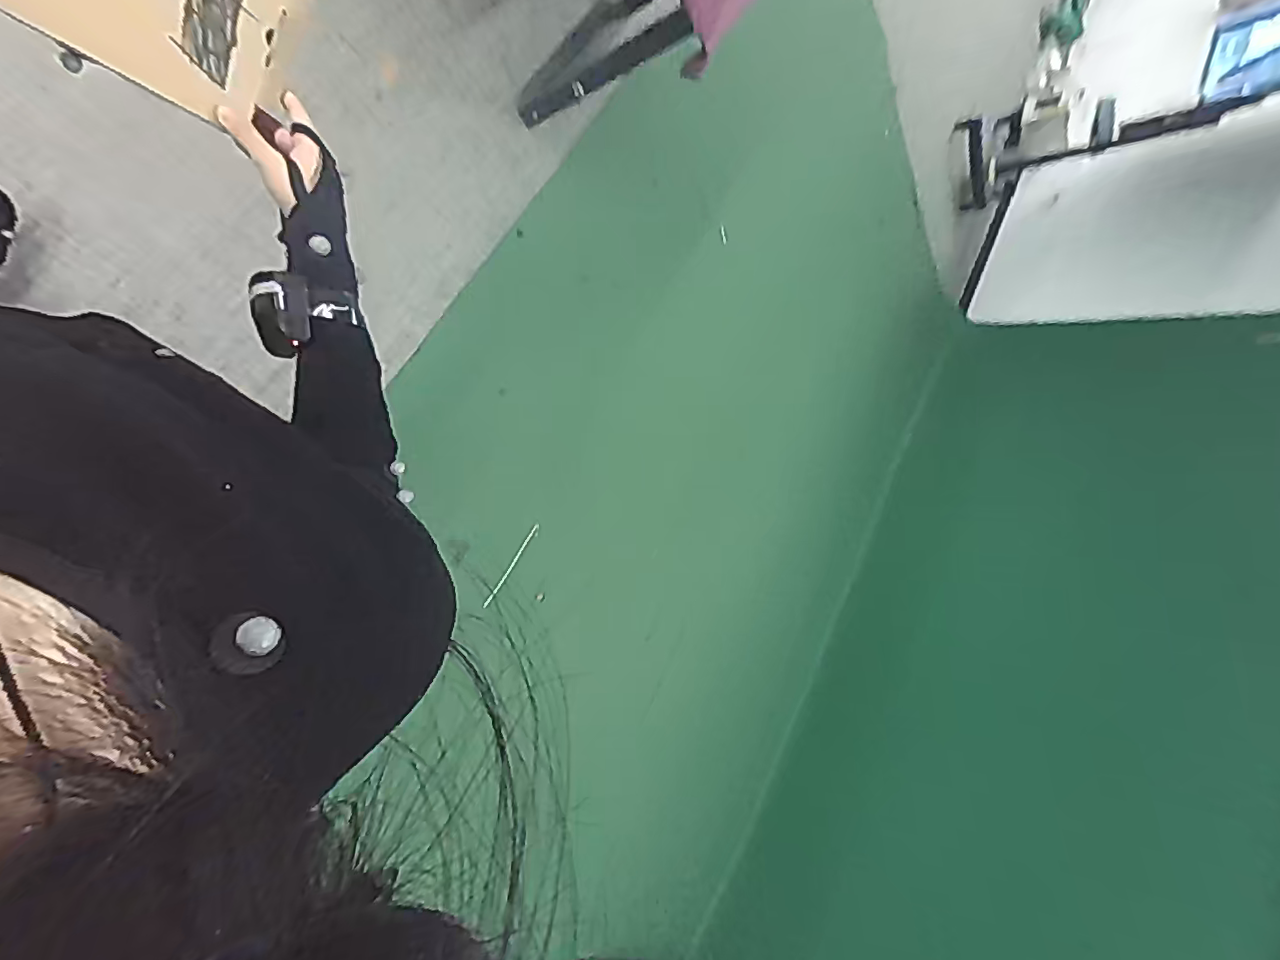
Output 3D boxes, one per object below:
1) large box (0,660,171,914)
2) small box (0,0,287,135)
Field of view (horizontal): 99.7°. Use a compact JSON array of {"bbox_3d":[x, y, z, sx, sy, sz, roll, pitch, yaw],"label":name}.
[{"bbox_3d":[-1.154,0.523,0.951,0.408,0.320,0.320,27,80,-46],"label":"large box"},{"bbox_3d":[-0.396,-0.404,0.405,0.179,0.176,0.168,12,110,-54],"label":"small box"}]
